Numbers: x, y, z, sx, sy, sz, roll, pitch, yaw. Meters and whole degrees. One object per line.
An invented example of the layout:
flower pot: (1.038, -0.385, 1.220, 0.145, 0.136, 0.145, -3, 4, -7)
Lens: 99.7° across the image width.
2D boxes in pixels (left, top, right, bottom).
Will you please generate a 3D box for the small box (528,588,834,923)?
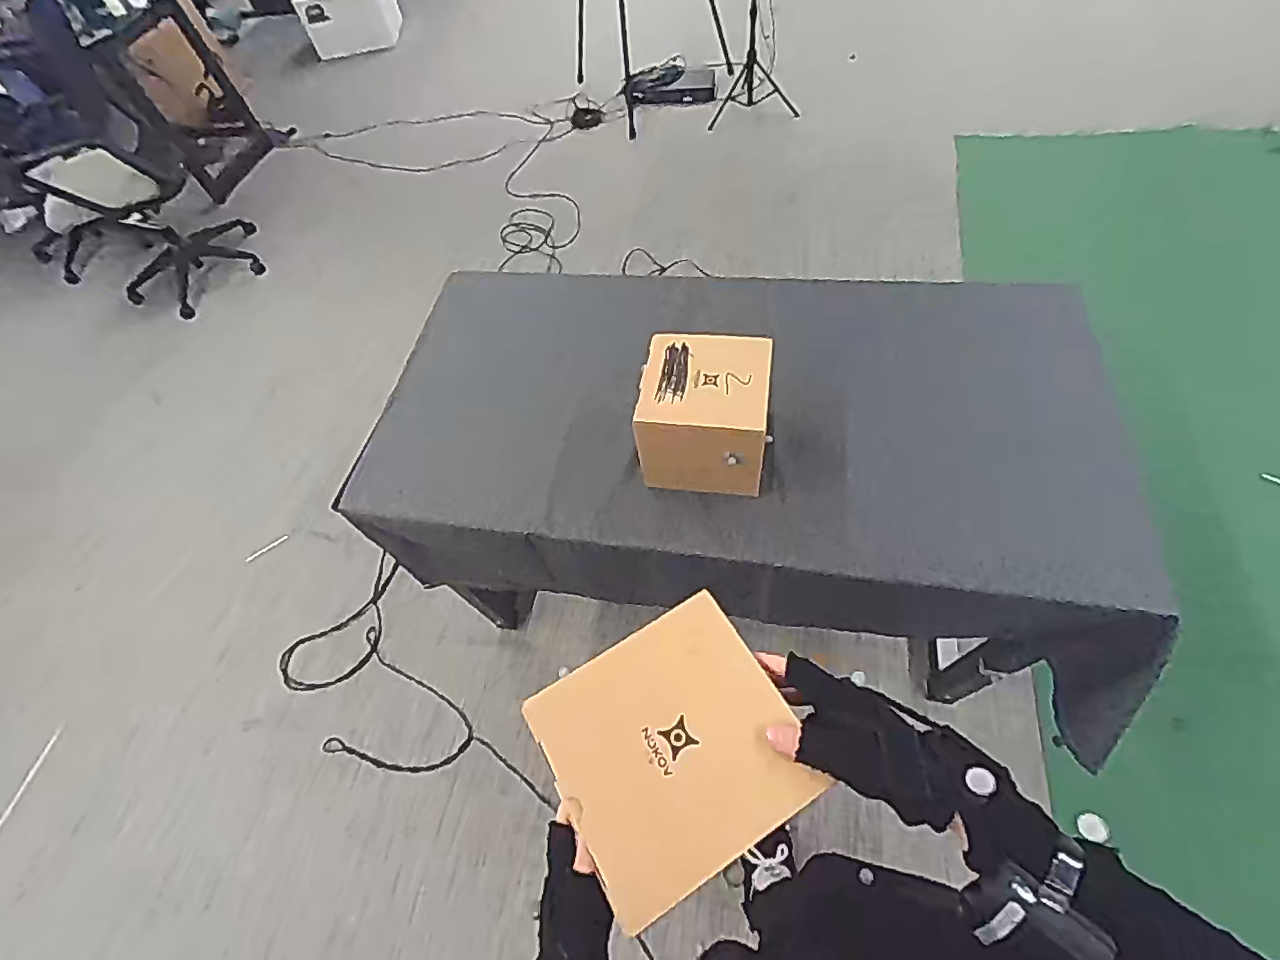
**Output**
small box: (0.029, 0.226, 0.471, 0.179, 0.176, 0.168, -29, 63, -12)
